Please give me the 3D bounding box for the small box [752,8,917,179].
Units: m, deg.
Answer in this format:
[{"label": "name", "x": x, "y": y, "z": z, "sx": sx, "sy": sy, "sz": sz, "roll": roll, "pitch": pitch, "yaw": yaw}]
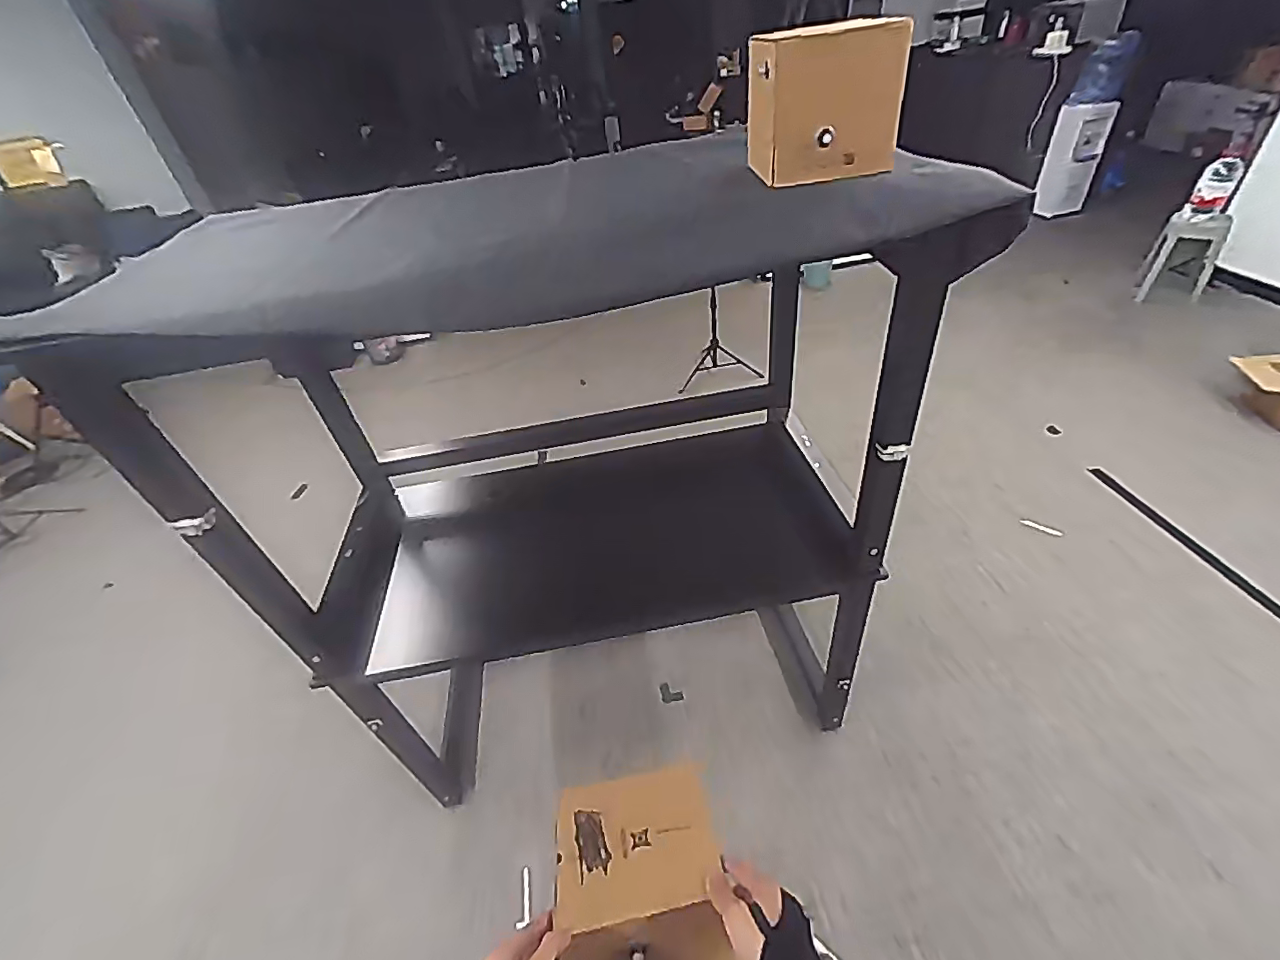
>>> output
[{"label": "small box", "x": 0.253, "y": -0.535, "z": 0.756, "sx": 0.168, "sy": 0.176, "sz": 0.179, "roll": -7, "pitch": 40, "yaw": 3}]
